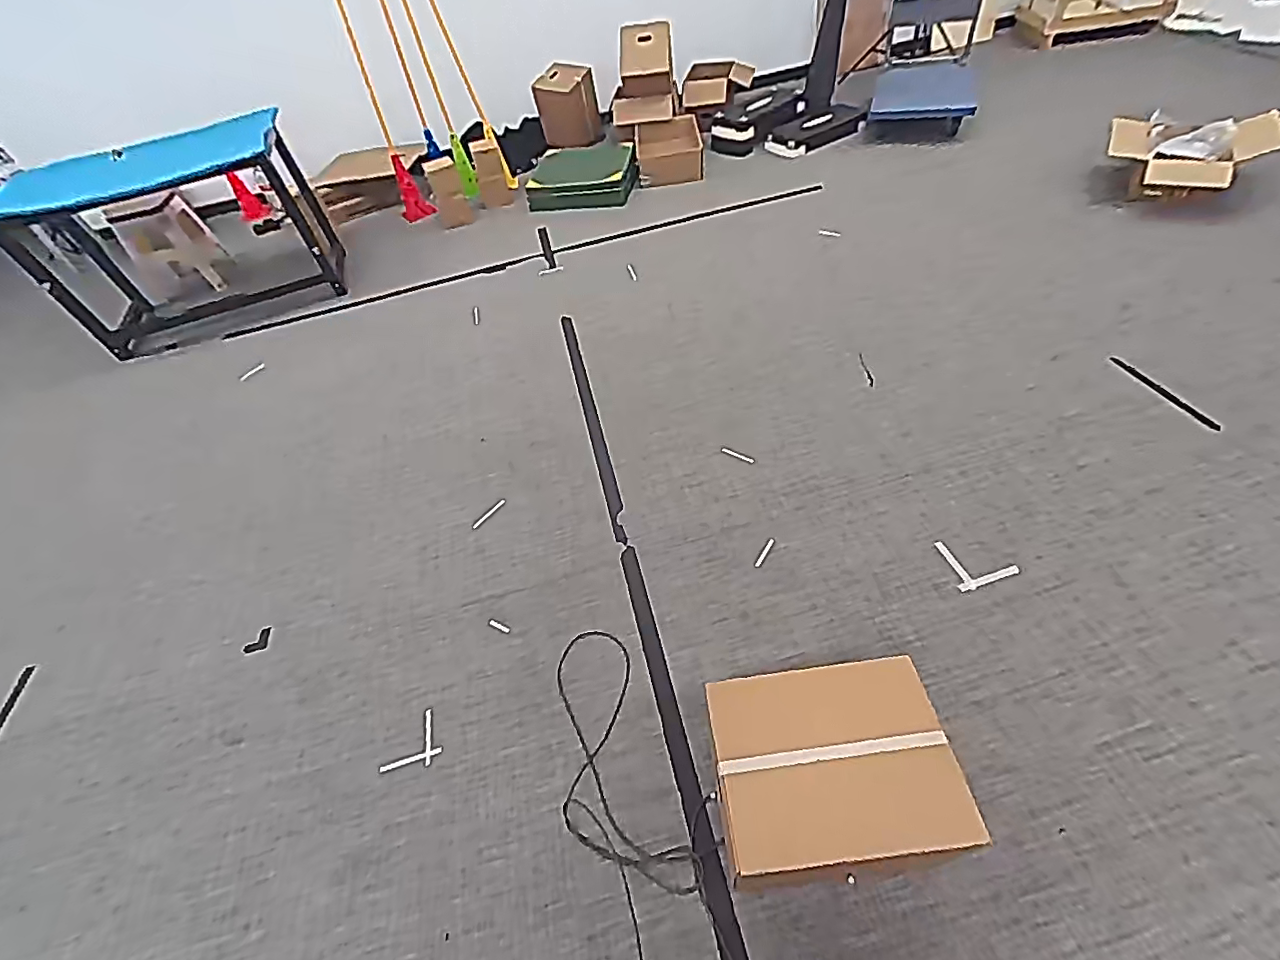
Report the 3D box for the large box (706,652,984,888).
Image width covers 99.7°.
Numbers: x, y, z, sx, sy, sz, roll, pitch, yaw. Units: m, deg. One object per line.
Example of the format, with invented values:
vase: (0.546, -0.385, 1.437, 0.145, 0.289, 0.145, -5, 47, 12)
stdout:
large box: (0.360, 0.581, 1.076, 0.408, 0.320, 0.320, -9, 49, 1)
